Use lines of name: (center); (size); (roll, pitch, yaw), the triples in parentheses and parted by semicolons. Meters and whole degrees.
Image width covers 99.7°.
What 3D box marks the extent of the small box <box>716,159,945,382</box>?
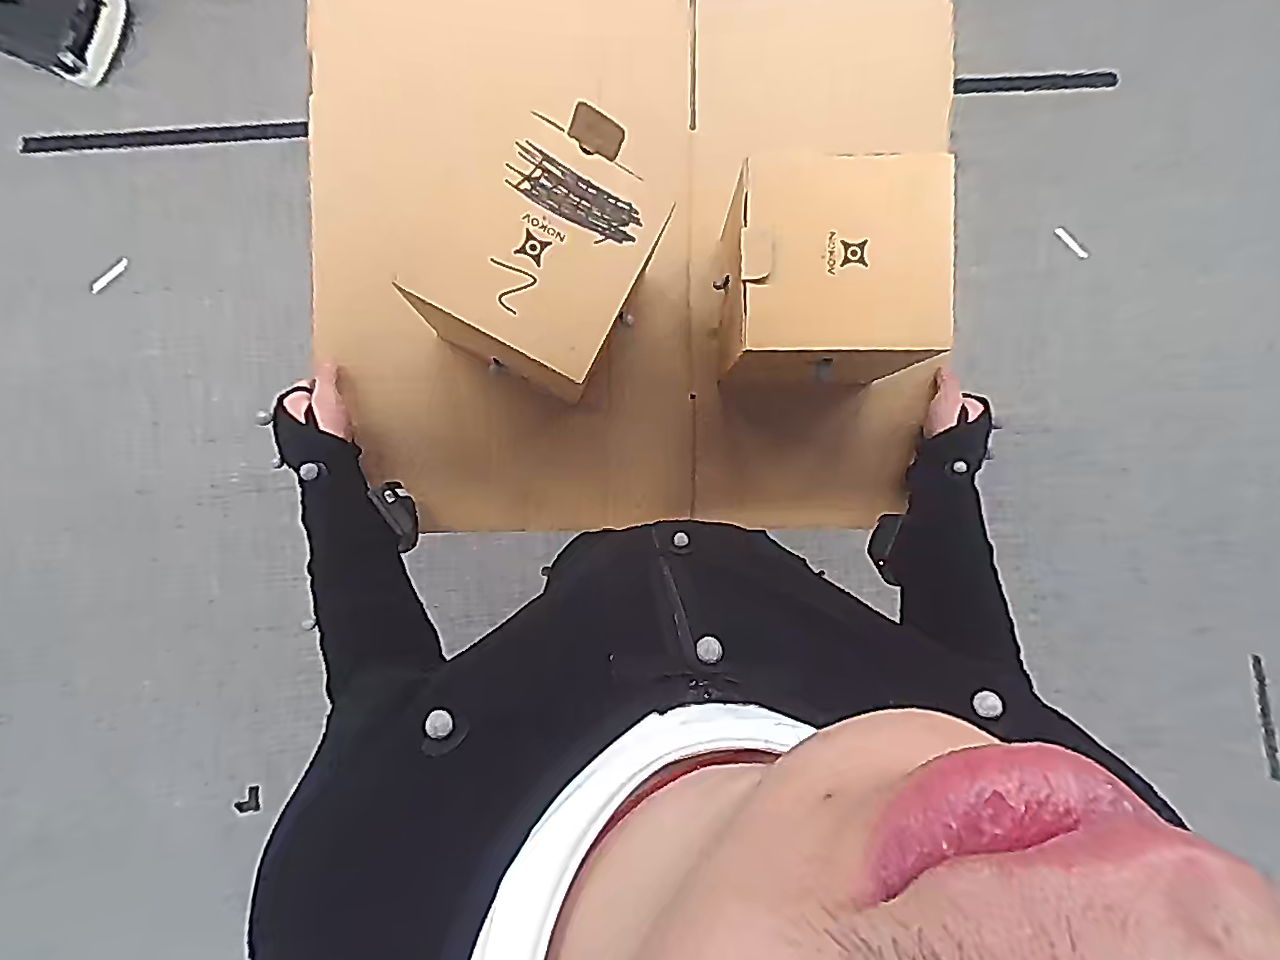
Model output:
small box: (0.177, -0.196, 0.548); (0.179, 0.176, 0.168); (0, 91, 1)
